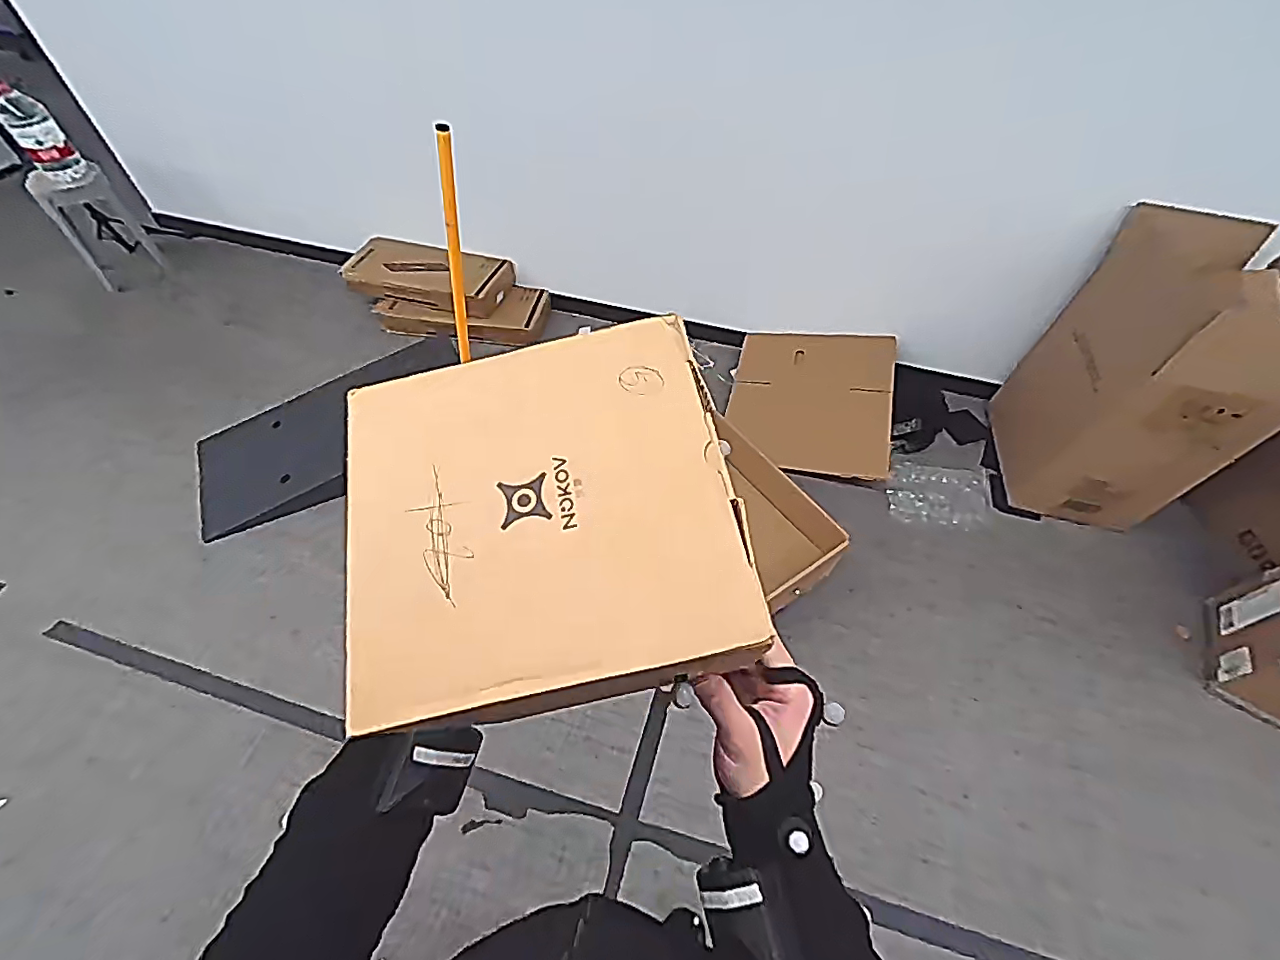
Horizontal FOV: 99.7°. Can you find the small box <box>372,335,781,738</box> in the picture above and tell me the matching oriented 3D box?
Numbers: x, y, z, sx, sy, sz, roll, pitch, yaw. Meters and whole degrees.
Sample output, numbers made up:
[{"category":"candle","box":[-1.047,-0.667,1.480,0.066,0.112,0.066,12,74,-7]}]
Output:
[{"category":"small box","box":[-0.033,0.046,0.327,0.179,0.176,0.168,-14,66,2]}]
